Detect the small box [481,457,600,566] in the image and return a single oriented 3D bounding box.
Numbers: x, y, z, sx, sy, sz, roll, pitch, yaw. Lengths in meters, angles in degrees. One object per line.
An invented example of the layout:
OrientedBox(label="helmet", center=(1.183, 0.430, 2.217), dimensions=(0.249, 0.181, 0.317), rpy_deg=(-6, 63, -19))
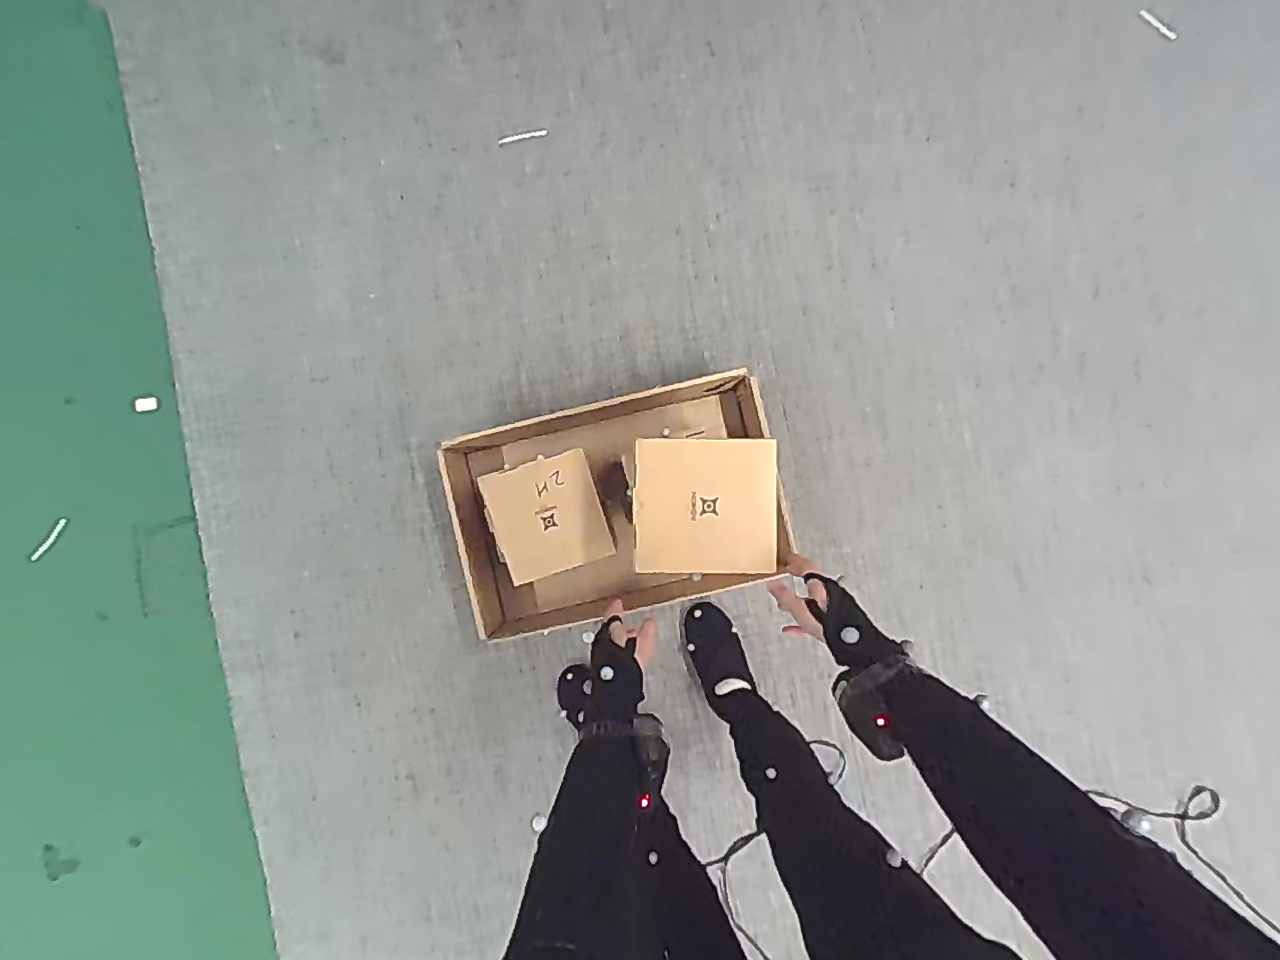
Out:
OrientedBox(label="small box", center=(-0.188, 0.060, 1.072), dimensions=(0.179, 0.176, 0.168), rpy_deg=(-17, 91, -1))

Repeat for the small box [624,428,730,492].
OrientedBox(label="small box", center=(0.077, 0.025, 0.902), dimensions=(0.168, 0.176, 0.179), rpy_deg=(-16, 89, 3))

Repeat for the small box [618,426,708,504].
OrientedBox(label="small box", center=(0.070, 0.005, 1.065), dimensions=(0.179, 0.176, 0.168), rpy_deg=(-20, 90, 2))

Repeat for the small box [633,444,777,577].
OrientedBox(label="small box", center=(0.081, 0.035, 0.739), dimensions=(0.179, 0.176, 0.168), rpy_deg=(-1, 91, 3))
